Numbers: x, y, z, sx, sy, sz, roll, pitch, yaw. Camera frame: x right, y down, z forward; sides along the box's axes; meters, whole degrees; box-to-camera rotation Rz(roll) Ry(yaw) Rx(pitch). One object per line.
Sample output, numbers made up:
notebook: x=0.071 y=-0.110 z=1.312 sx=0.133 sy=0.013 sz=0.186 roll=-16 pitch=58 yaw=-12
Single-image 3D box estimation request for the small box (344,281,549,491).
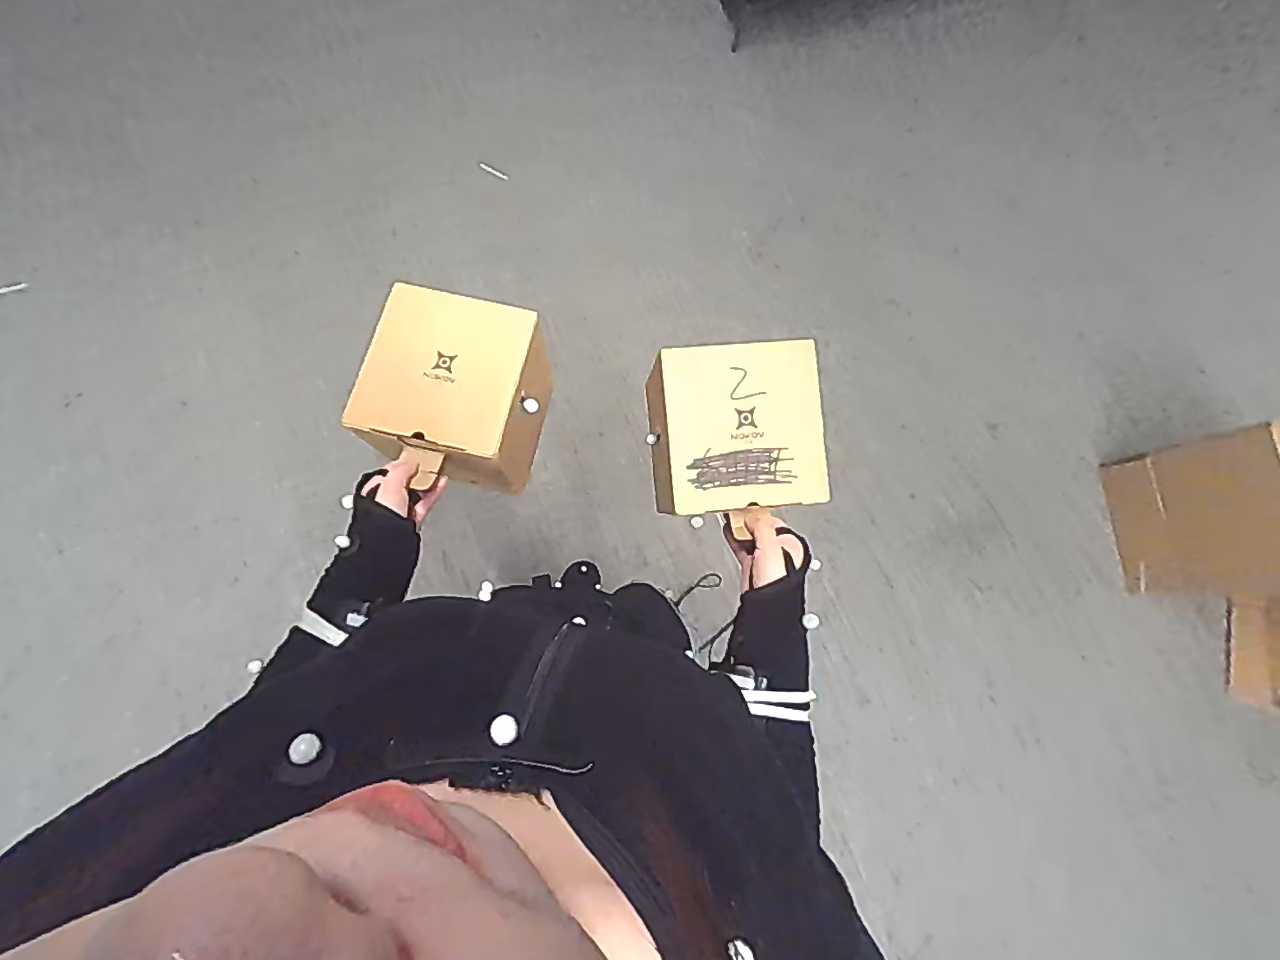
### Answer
small box: x=-0.212 y=-0.102 z=0.653 sx=0.168 sy=0.176 sz=0.179 roll=13 pitch=76 yaw=1
